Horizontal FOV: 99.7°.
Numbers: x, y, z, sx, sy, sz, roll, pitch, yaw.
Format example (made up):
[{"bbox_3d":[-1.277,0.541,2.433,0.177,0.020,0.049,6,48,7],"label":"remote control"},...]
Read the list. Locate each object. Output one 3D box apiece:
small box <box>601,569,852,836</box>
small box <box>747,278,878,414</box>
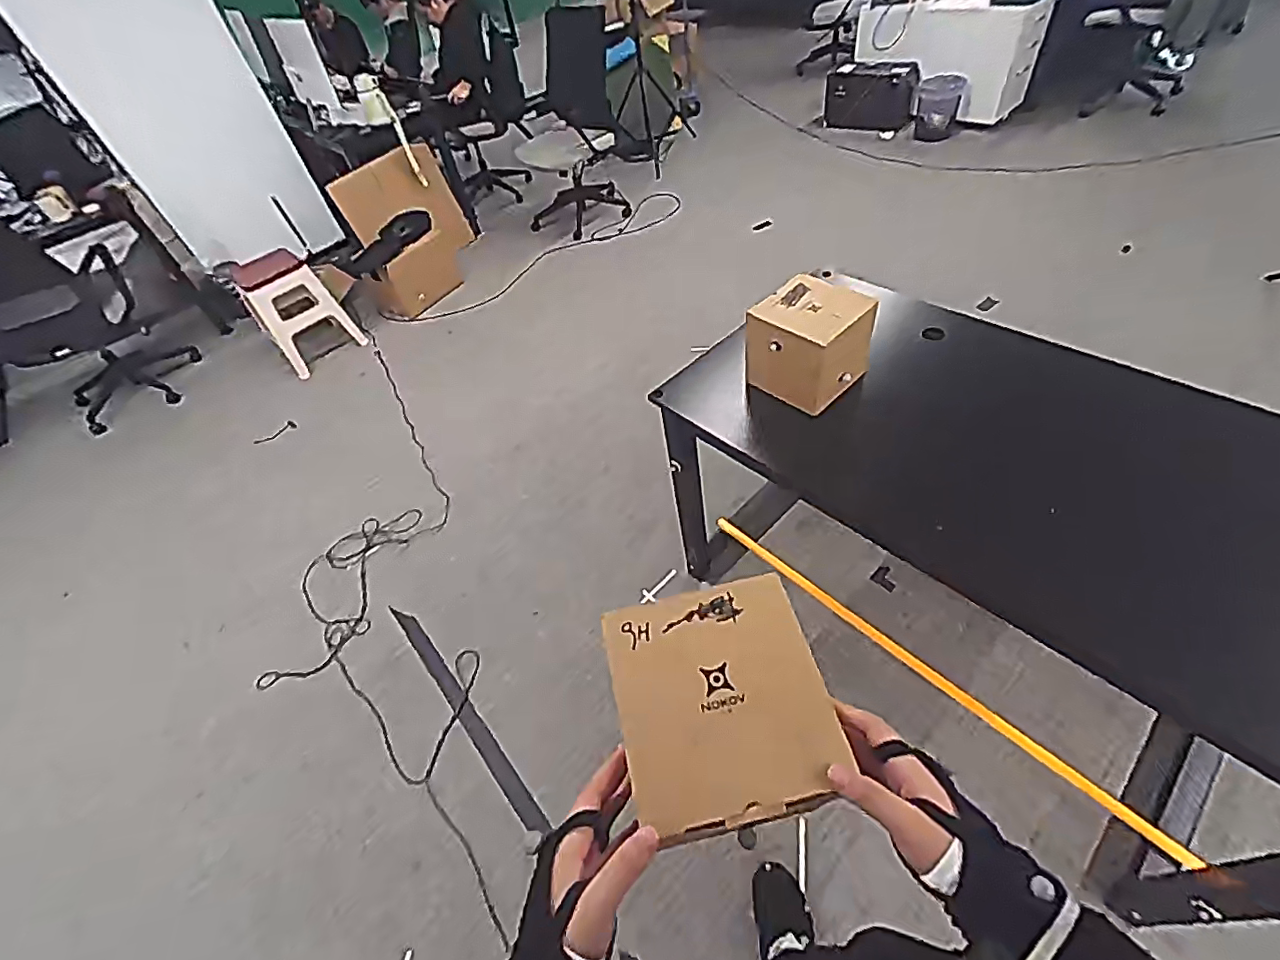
[{"bbox_3d":[0.067,0.210,0.503,0.168,0.176,0.179,-12,56,-4],"label":"small box"},{"bbox_3d":[0.324,-0.258,1.051,0.168,0.176,0.179,-39,55,-21],"label":"small box"}]
